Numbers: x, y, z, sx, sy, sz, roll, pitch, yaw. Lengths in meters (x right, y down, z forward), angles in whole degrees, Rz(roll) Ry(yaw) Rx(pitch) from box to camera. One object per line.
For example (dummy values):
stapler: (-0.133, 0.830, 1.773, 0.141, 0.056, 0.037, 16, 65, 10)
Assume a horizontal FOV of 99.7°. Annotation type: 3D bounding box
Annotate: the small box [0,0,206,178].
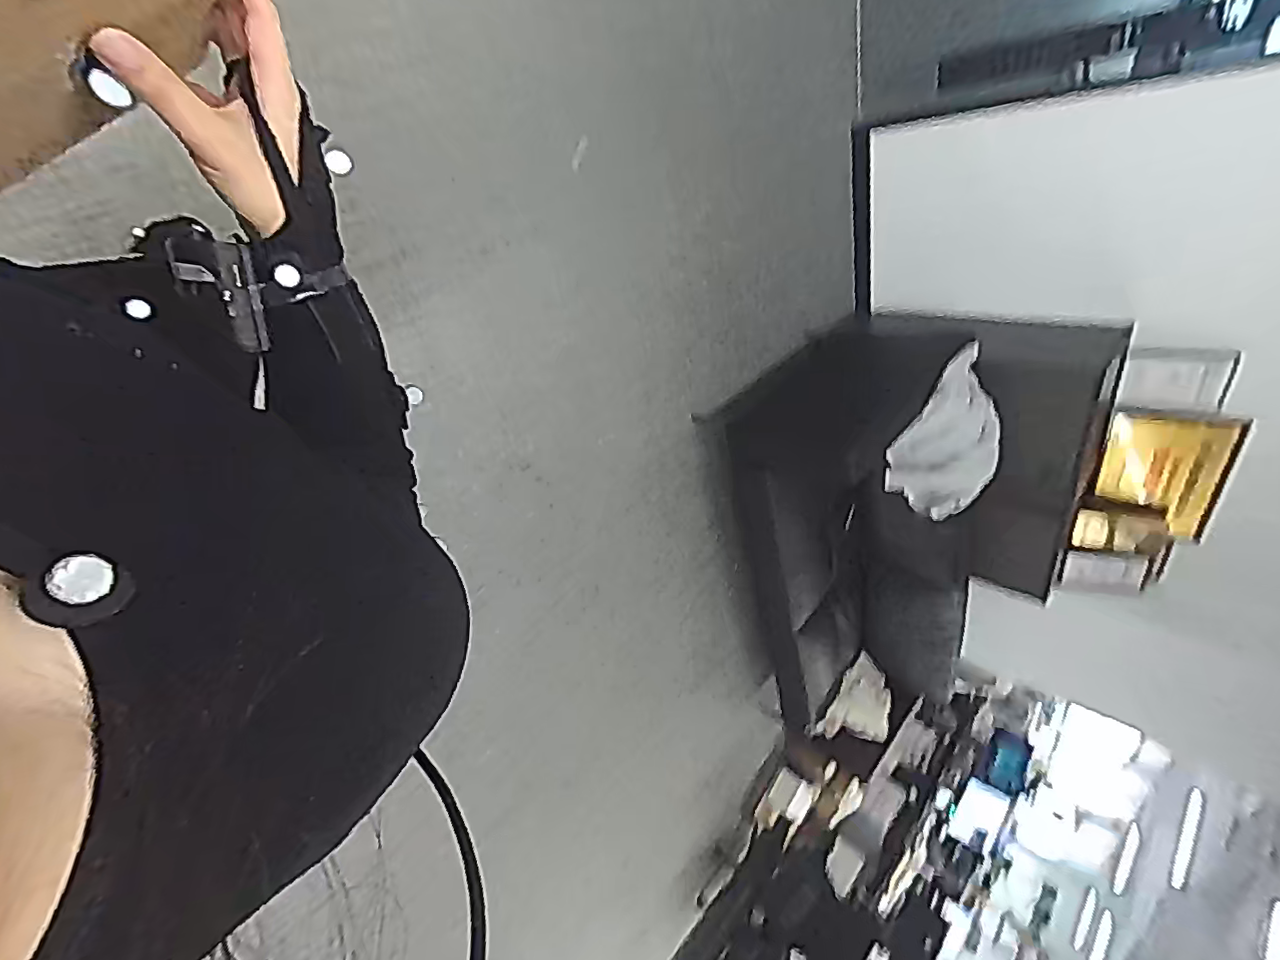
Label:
small box: (-0.290, -0.231, 0.187, 0.179, 0.176, 0.168, 49, 60, -36)
